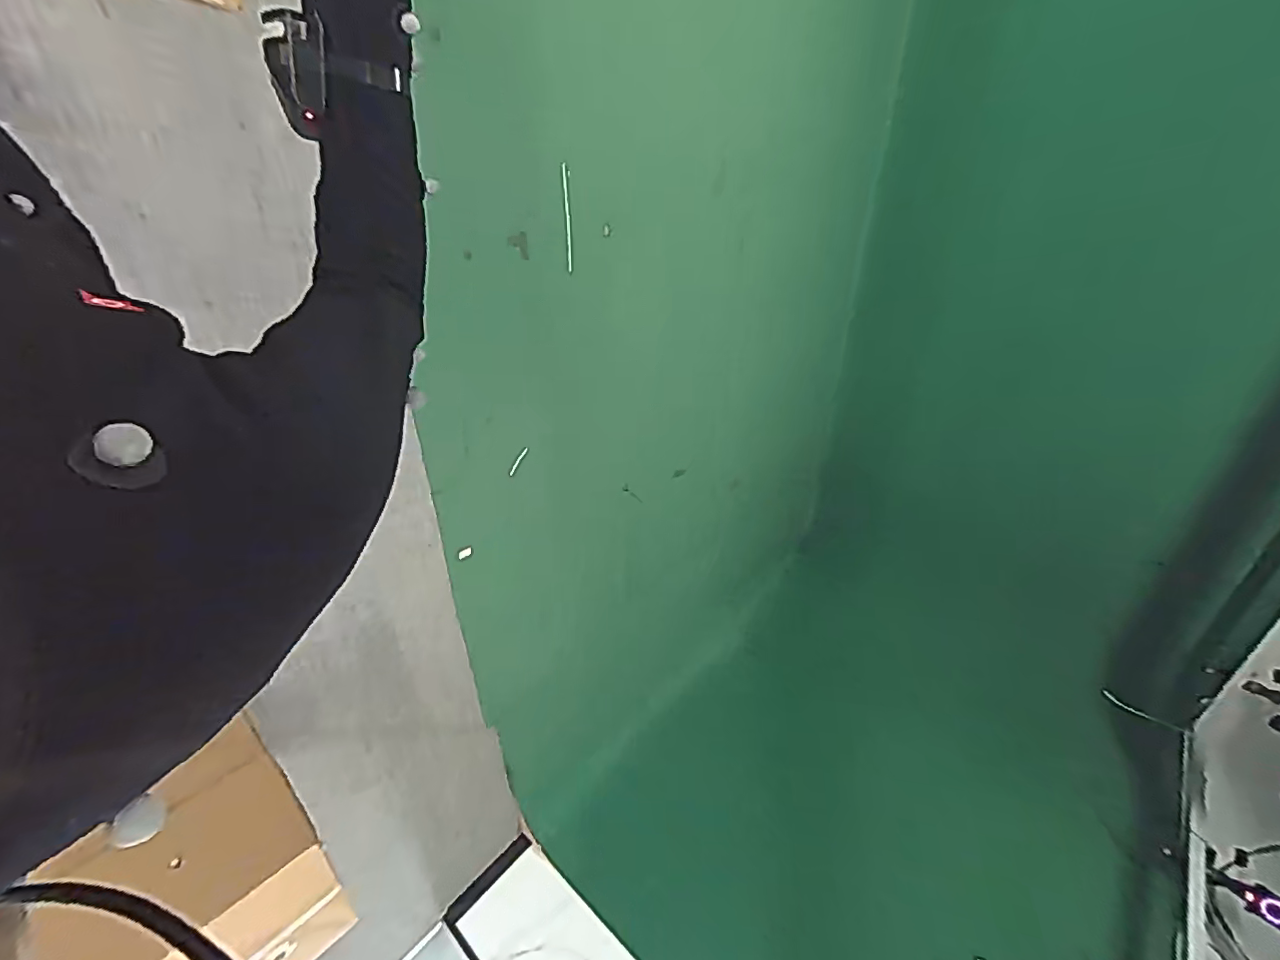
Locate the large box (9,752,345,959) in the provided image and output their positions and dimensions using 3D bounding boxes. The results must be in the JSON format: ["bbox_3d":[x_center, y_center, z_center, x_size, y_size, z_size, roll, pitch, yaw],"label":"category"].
[{"bbox_3d":[-0.904,0.867,1.094,0.408,0.320,0.320,-29,129,-42],"label":"large box"}]
